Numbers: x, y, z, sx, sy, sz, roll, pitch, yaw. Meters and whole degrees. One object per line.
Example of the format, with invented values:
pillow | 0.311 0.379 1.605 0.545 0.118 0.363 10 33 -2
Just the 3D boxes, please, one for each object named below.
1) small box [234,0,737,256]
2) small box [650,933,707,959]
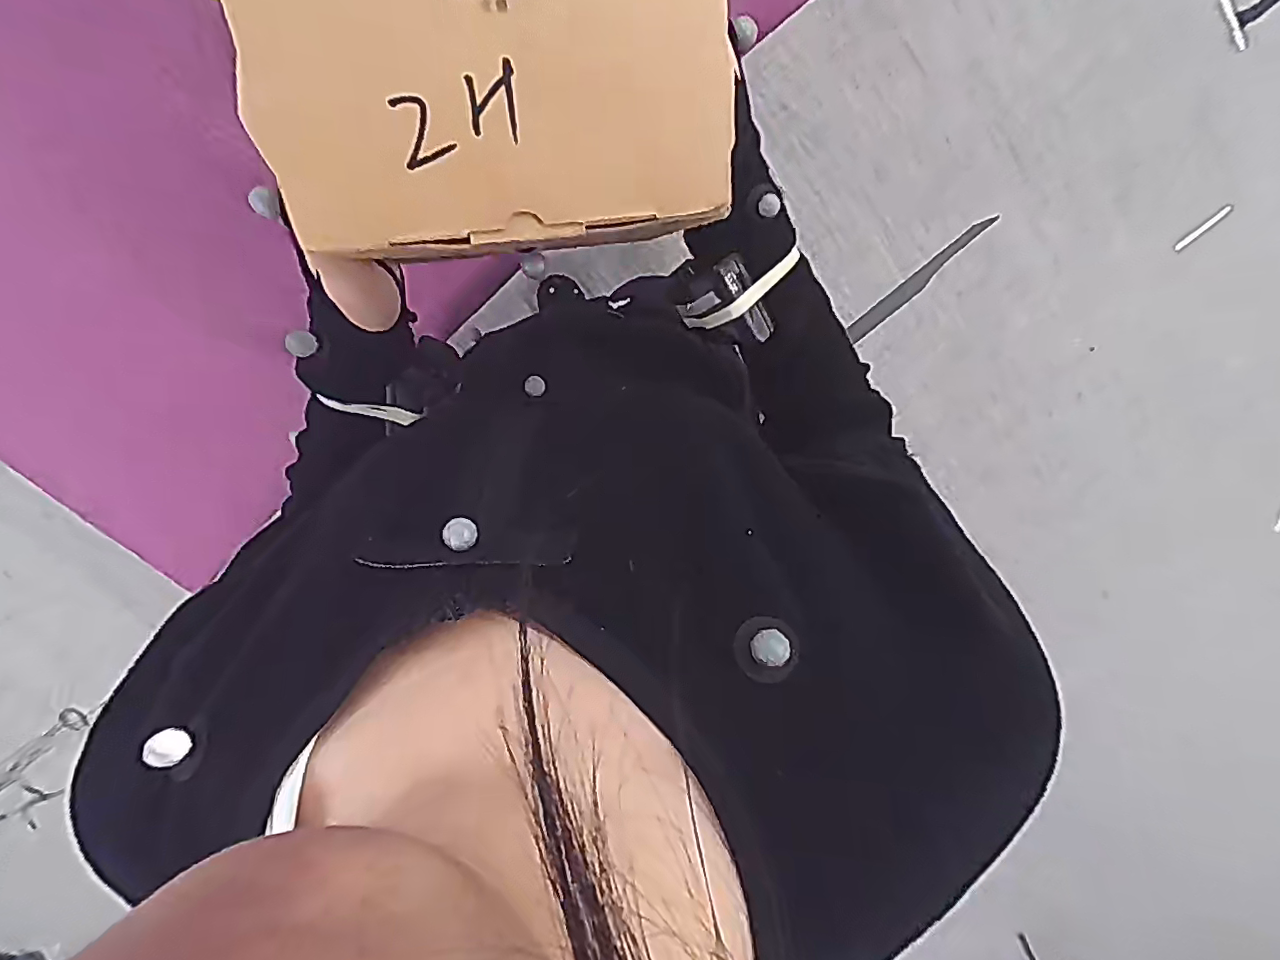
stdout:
small box | -0.062 -0.206 0.247 0.168 0.176 0.179 -8 111 -7
small box | 0.121 1.571 1.693 0.168 0.176 0.179 6 108 -6
